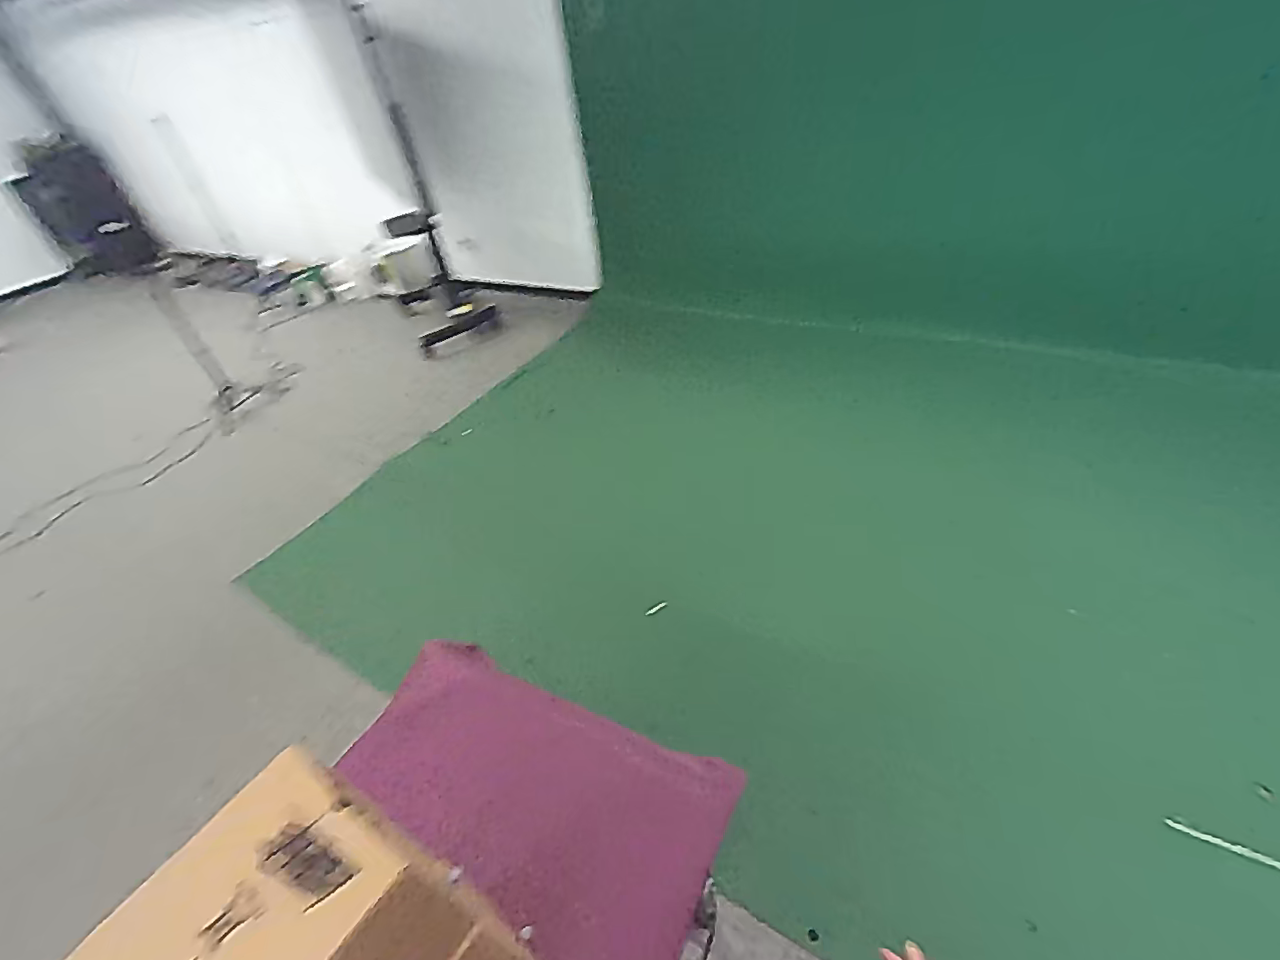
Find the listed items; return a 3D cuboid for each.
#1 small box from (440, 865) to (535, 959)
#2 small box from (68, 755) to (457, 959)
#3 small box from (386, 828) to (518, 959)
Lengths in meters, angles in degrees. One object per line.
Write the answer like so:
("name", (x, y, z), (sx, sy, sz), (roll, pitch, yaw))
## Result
("small box", (-0.228, 0.613, 0.634), (0.168, 0.176, 0.179), (23, 50, 32))
("small box", (-0.269, 0.366, 0.422), (0.168, 0.176, 0.179), (20, 49, 29))
("small box", (-0.247, 0.491, 0.527), (0.168, 0.176, 0.179), (21, 50, 30))
